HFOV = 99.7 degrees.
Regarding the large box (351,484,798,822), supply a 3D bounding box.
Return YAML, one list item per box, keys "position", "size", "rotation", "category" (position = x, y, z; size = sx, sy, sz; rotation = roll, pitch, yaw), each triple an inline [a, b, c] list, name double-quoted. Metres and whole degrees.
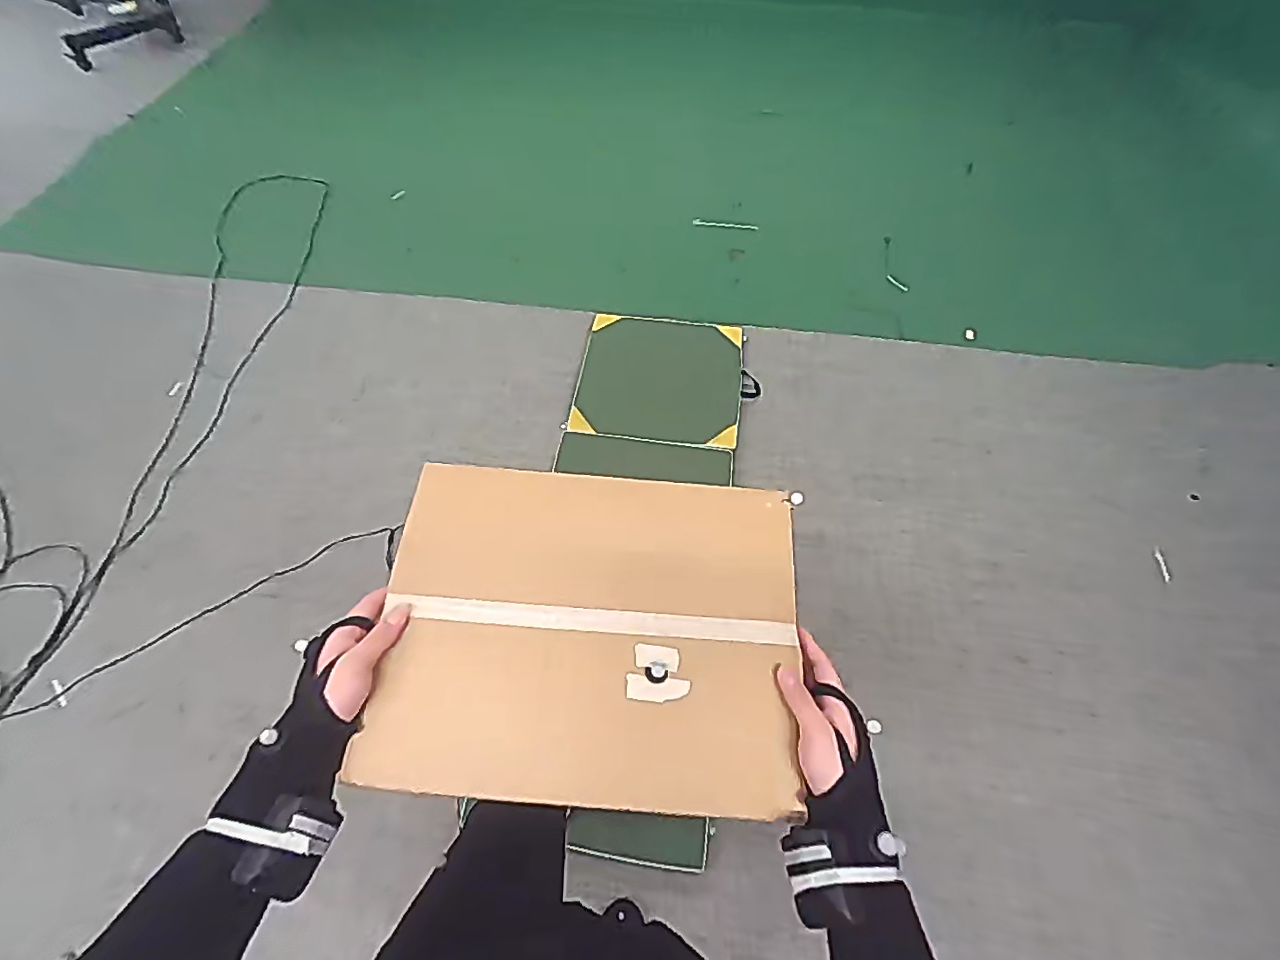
- position: [-0.057, 0.221, 0.673]
  size: [0.408, 0.320, 0.320]
  rotation: [5, 64, -1]
  category: "large box"
